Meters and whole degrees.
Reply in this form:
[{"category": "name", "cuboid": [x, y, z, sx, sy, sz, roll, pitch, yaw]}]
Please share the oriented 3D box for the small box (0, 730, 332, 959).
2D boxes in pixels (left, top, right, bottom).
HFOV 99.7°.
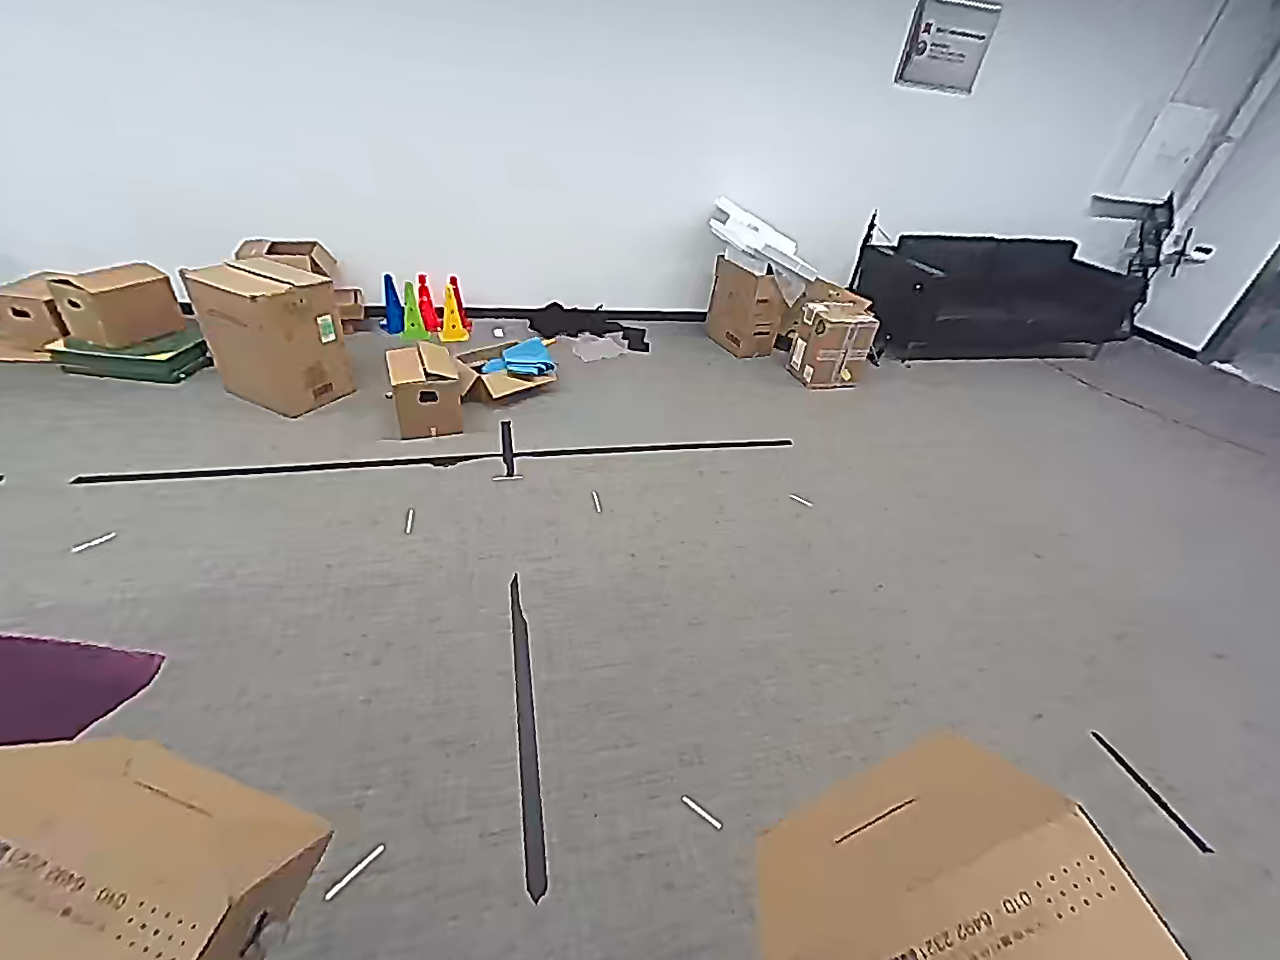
[{"category": "small box", "cuboid": [-0.304, 0.247, 0.282, 0.168, 0.179, 0.176, 26, 64, -1]}]
